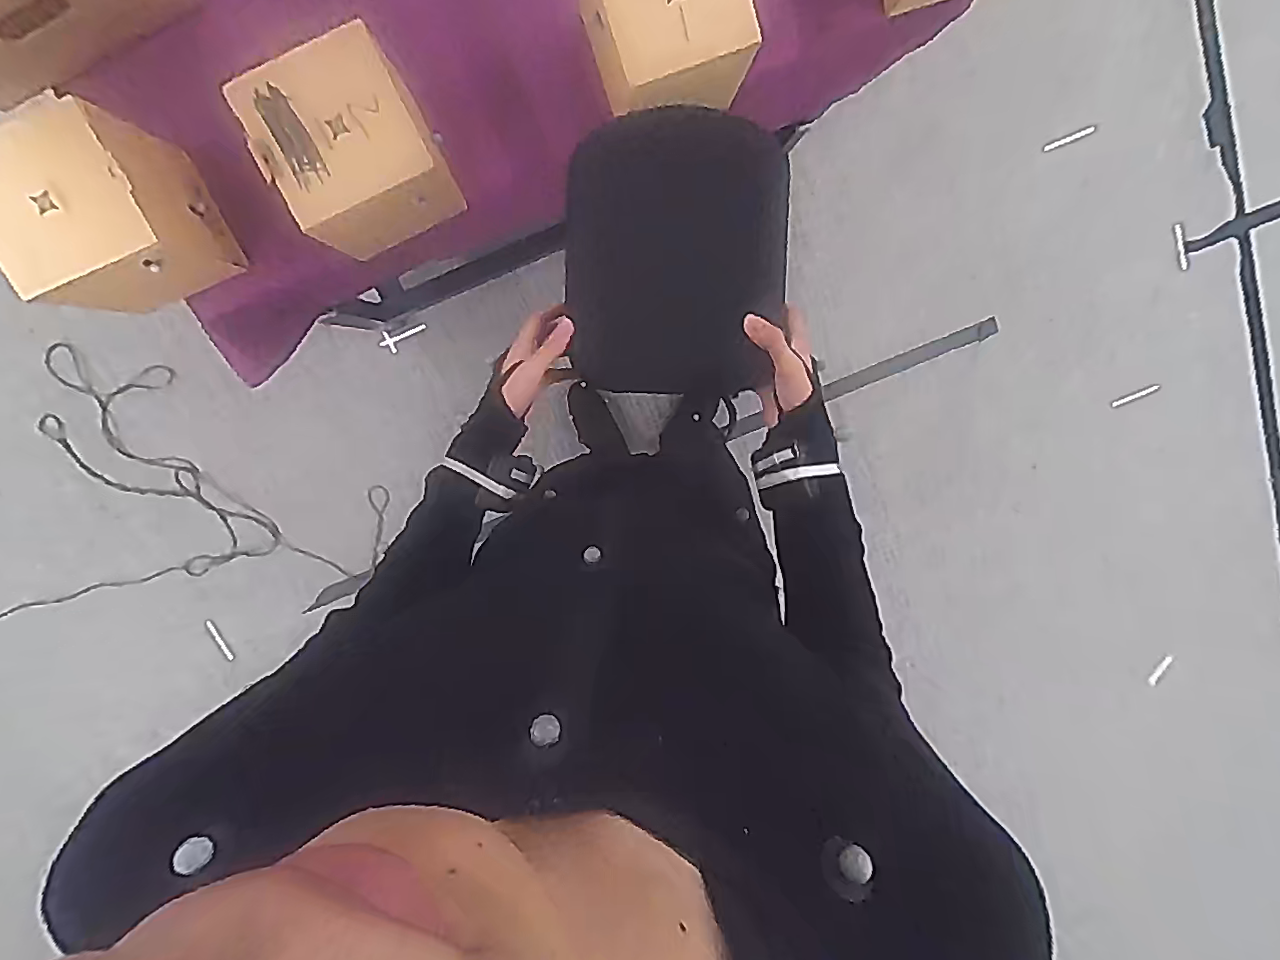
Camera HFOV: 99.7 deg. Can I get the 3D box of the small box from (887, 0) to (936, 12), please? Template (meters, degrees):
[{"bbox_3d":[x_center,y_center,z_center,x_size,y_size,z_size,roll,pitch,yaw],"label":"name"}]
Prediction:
[{"bbox_3d":[0.407,-0.749,0.673,0.168,0.176,0.179,-17,102,0],"label":"small box"}]

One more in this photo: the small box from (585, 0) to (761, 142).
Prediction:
[{"bbox_3d":[0.031,-0.573,0.684,0.168,0.176,0.179,-20,103,1],"label":"small box"}]

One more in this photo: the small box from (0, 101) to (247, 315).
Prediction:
[{"bbox_3d":[-0.662,-0.323,0.684,0.179,0.176,0.168,-25,102,0],"label":"small box"}]
